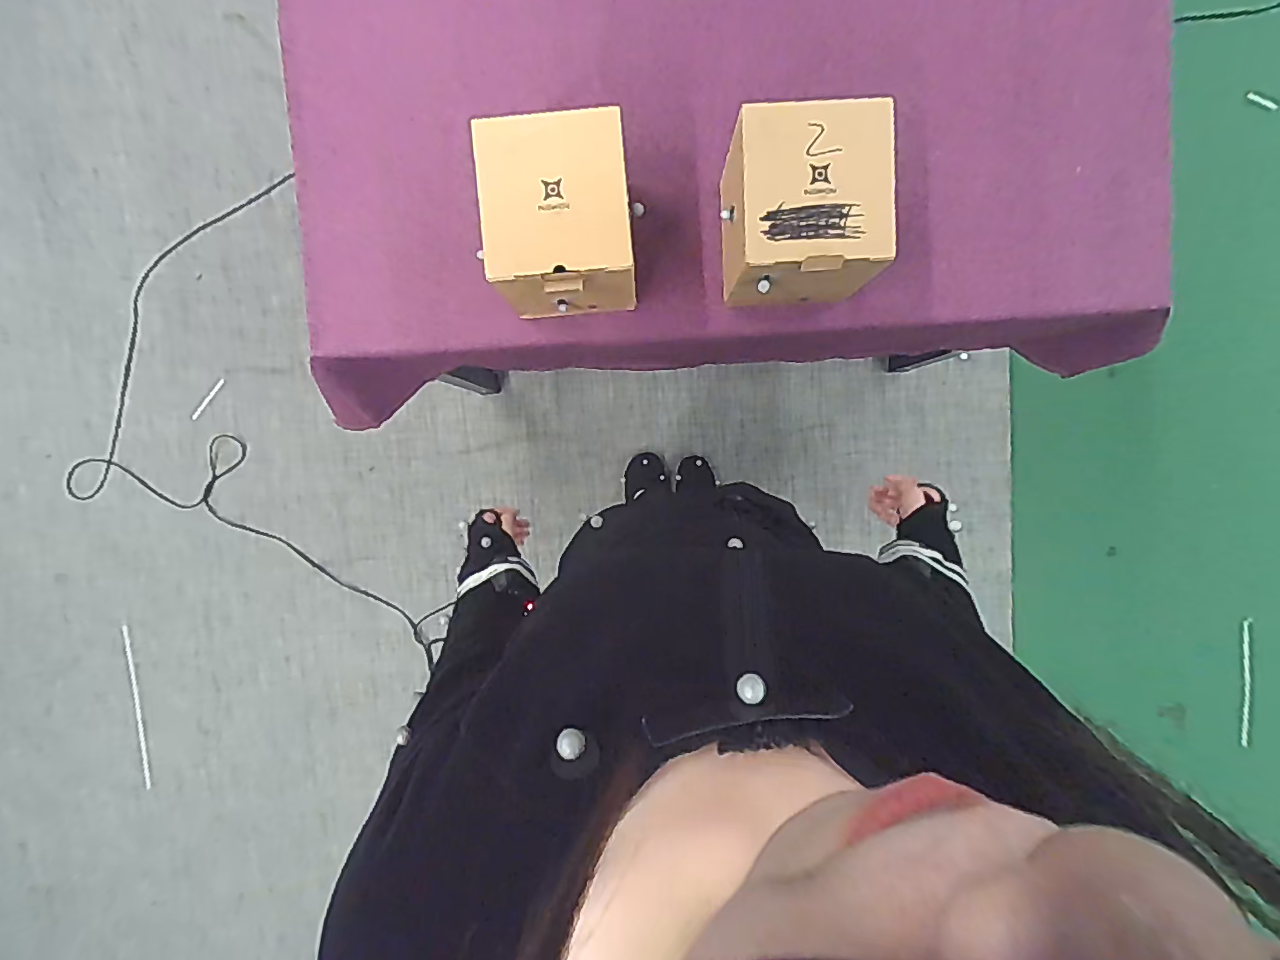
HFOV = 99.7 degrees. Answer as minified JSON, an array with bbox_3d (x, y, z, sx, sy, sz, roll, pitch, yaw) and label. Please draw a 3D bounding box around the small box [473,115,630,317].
[{"bbox_3d":[-0.101,-0.321,0.688,0.168,0.176,0.179,-5,94,1],"label":"small box"}]
